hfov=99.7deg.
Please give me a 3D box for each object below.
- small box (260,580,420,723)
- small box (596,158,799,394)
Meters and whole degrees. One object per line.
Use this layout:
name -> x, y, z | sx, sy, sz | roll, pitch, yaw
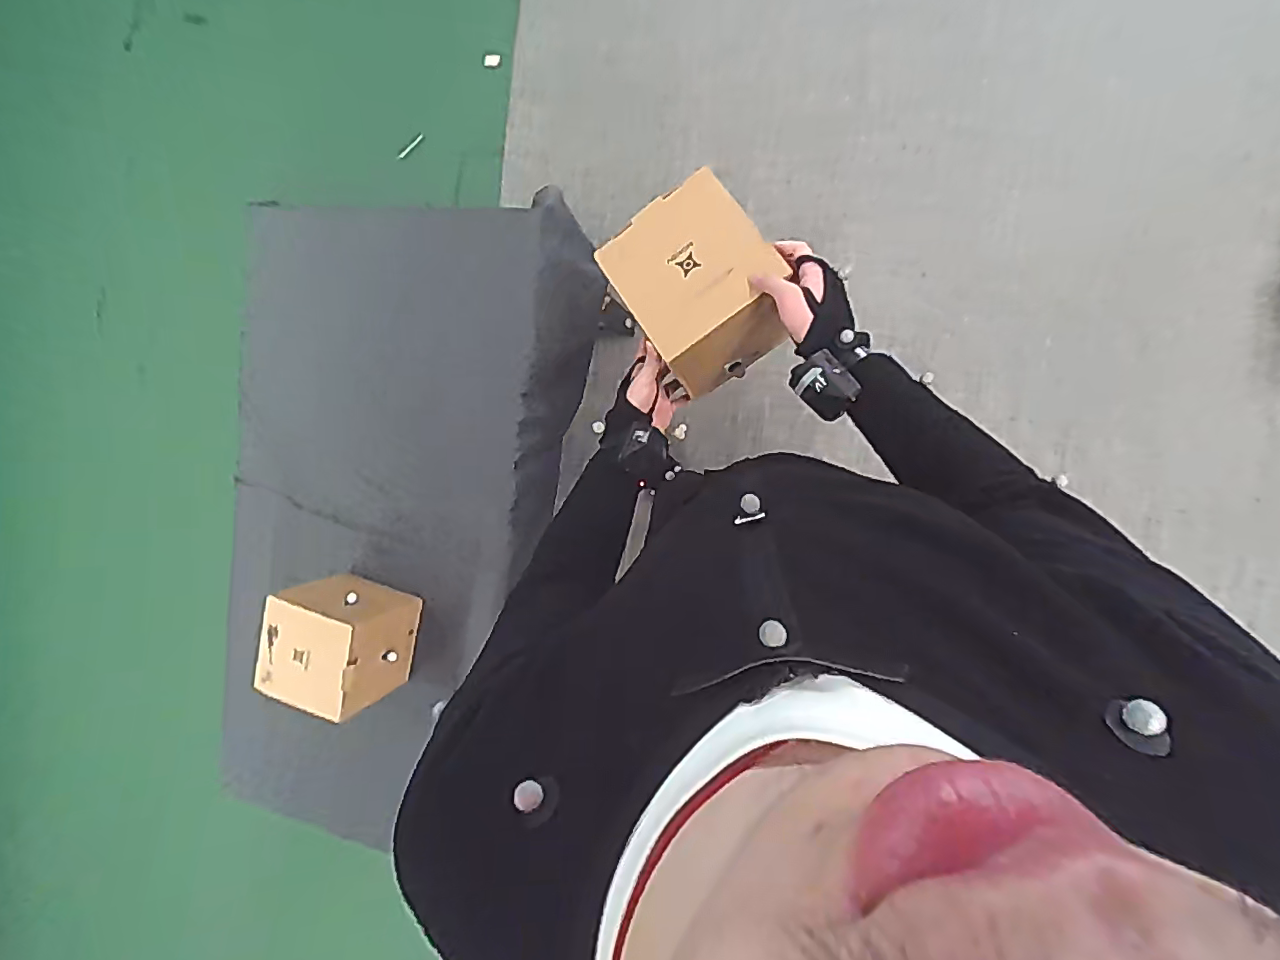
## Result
small box -> -0.511, 0.284, 0.938 | 0.179, 0.176, 0.168 | 11, 97, 14
small box -> 0.078, -0.234, 0.666 | 0.168, 0.176, 0.179 | -33, 73, 12
